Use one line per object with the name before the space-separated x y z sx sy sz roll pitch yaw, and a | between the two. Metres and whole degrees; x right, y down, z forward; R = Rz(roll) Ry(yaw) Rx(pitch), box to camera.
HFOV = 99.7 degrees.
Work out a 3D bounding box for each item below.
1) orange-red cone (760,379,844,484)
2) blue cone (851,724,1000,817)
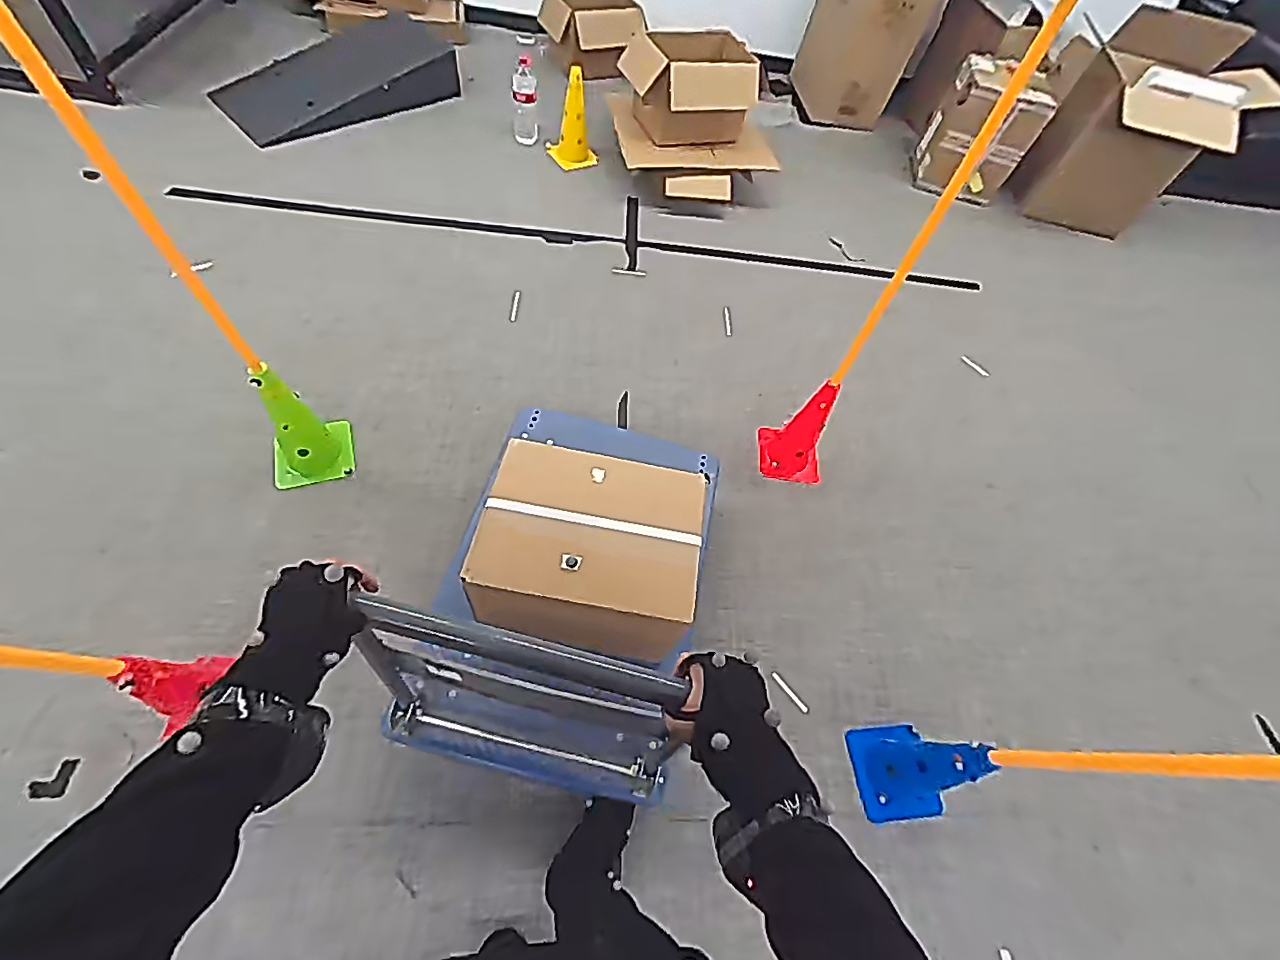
orange-red cone | 0.517 -0.172 1.623 0.199 0.360 0.198 10 58 -4
blue cone | 0.642 0.609 1.171 0.193 0.380 0.192 1 57 -9
